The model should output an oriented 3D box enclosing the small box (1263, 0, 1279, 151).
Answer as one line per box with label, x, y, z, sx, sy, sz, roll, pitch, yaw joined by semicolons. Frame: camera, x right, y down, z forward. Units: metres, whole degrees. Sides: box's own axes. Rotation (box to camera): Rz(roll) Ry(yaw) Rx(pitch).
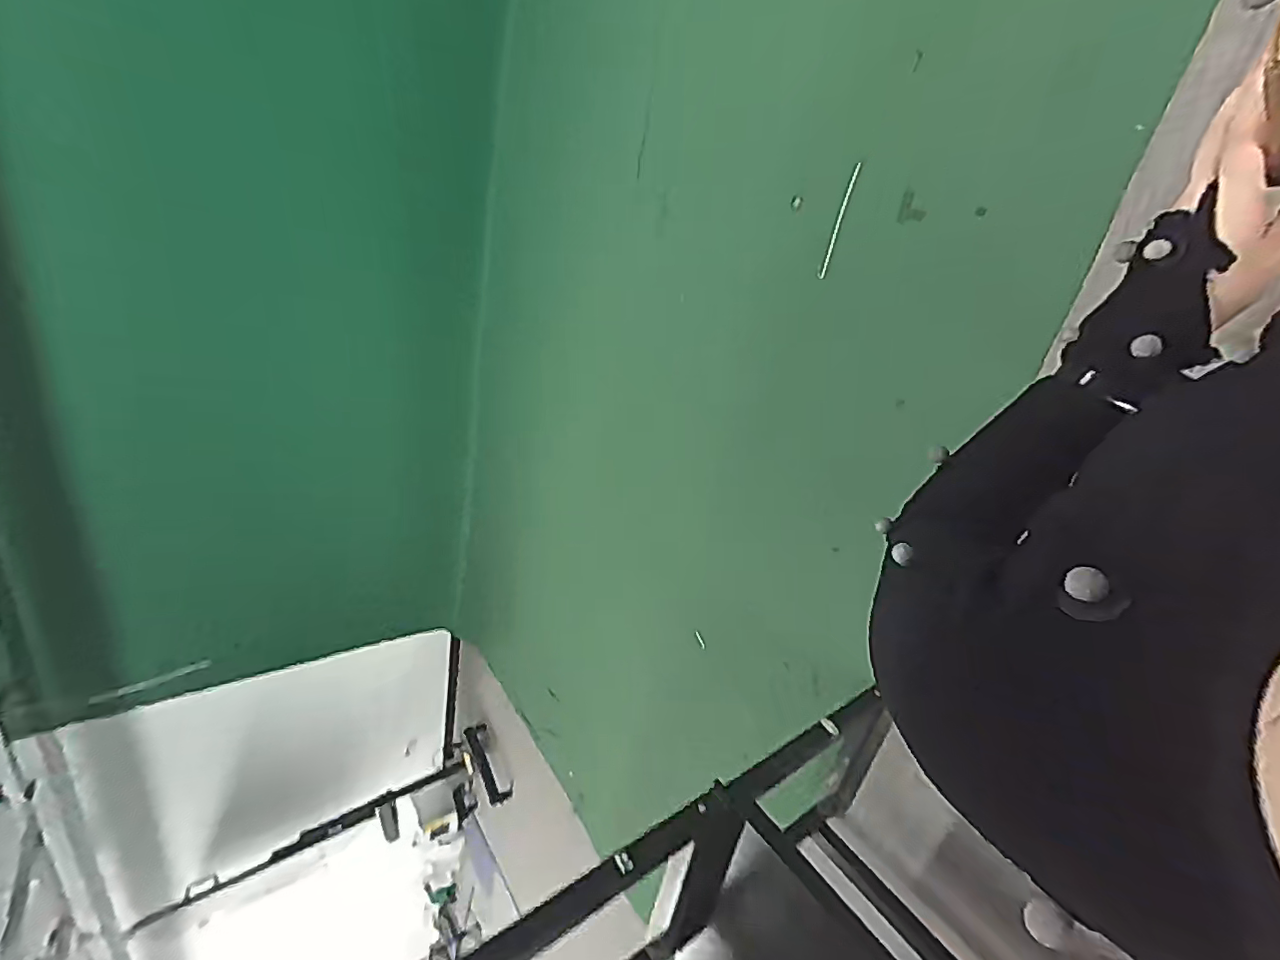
small box;0.402;-0.267;0.221;0.179;0.176;0.168;11;101;47
